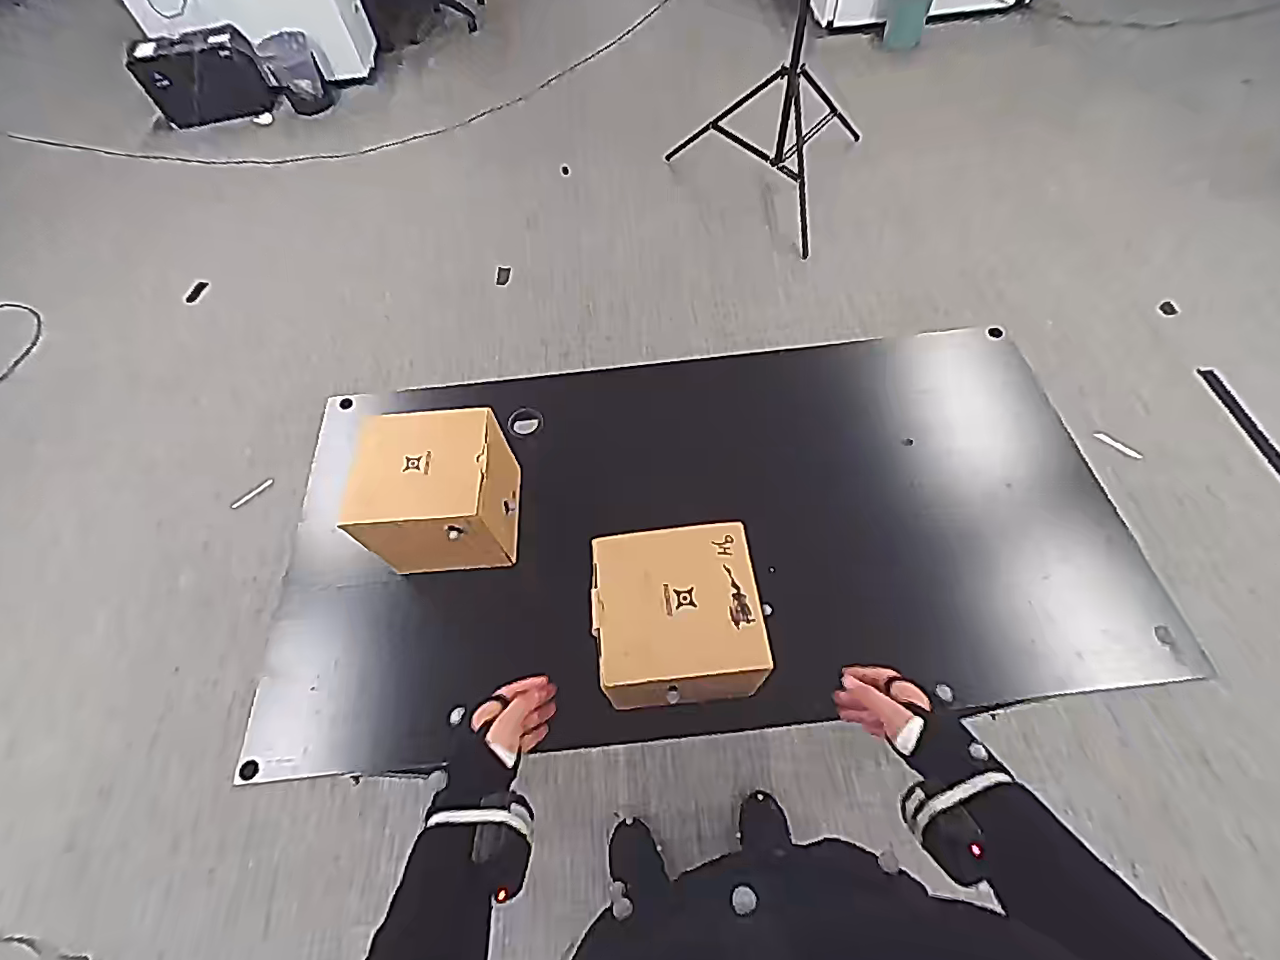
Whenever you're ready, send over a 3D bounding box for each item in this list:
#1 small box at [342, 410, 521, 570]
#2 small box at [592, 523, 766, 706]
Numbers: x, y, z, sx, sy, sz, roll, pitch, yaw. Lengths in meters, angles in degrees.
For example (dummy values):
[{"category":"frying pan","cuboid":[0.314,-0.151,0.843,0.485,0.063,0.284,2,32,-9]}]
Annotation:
[{"category":"small box","cuboid":[-0.278,0.021,0.766,0.179,0.176,0.168,-4,60,0]},{"category":"small box","cuboid":[0.043,0.170,0.659,0.179,0.176,0.168,-7,59,0]}]
